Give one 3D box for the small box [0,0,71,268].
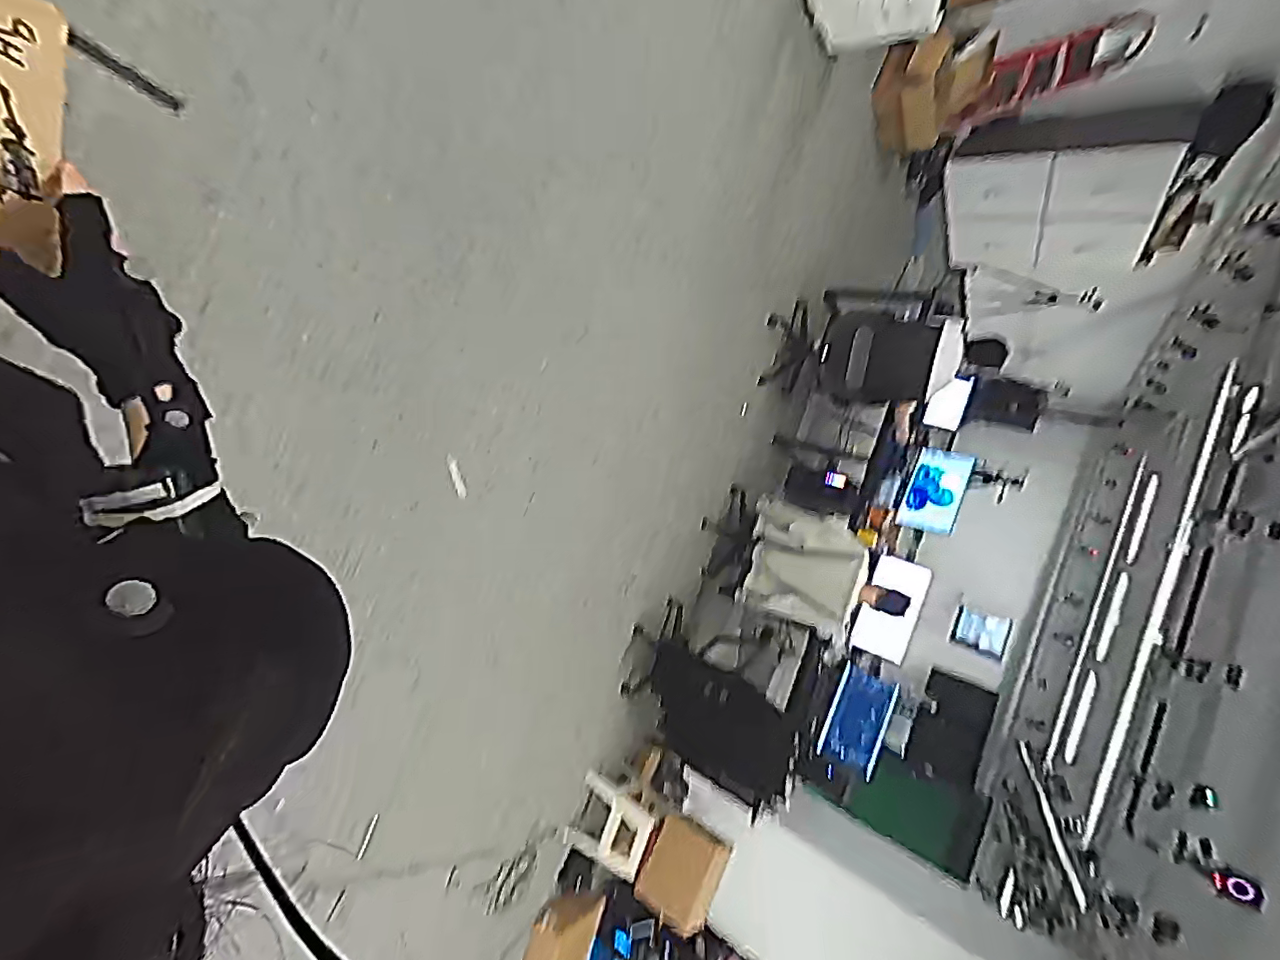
[{"bbox_3d":[-0.474,-0.242,0.297,0.179,0.176,0.168,-17,134,-63],"label":"small box"}]
